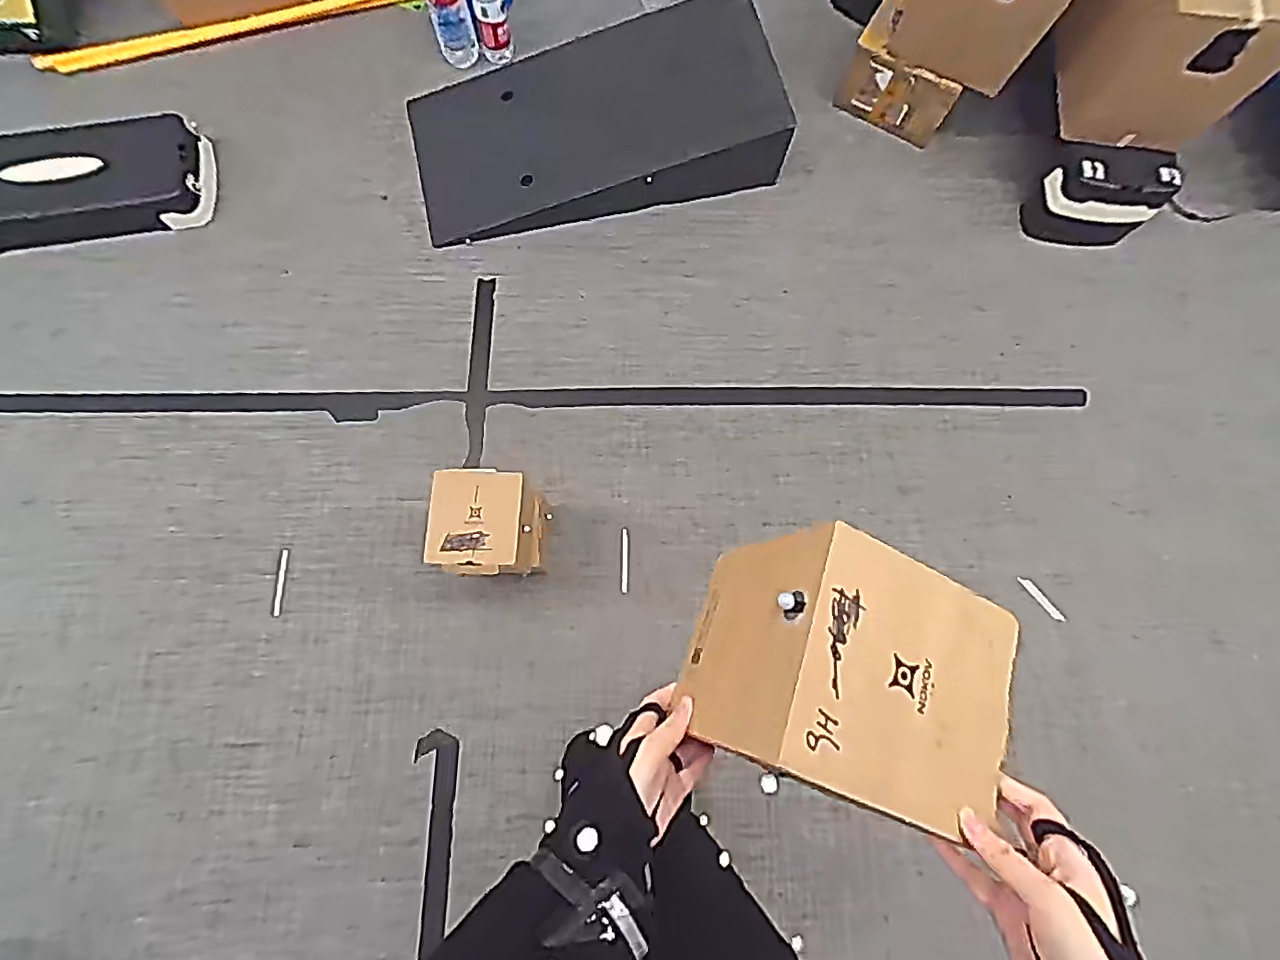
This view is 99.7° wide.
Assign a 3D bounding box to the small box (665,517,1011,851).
[{"bbox_3d":[0.149,0.152,0.430,0.179,0.176,0.168,29,65,-12],"label":"small box"}]

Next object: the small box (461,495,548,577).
[{"bbox_3d":[-0.302,0.128,1.212,0.179,0.176,0.168,-1,77,-2],"label":"small box"}]

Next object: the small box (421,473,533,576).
[{"bbox_3d":[-0.306,0.093,1.052,0.168,0.176,0.179,2,75,-2],"label":"small box"}]
